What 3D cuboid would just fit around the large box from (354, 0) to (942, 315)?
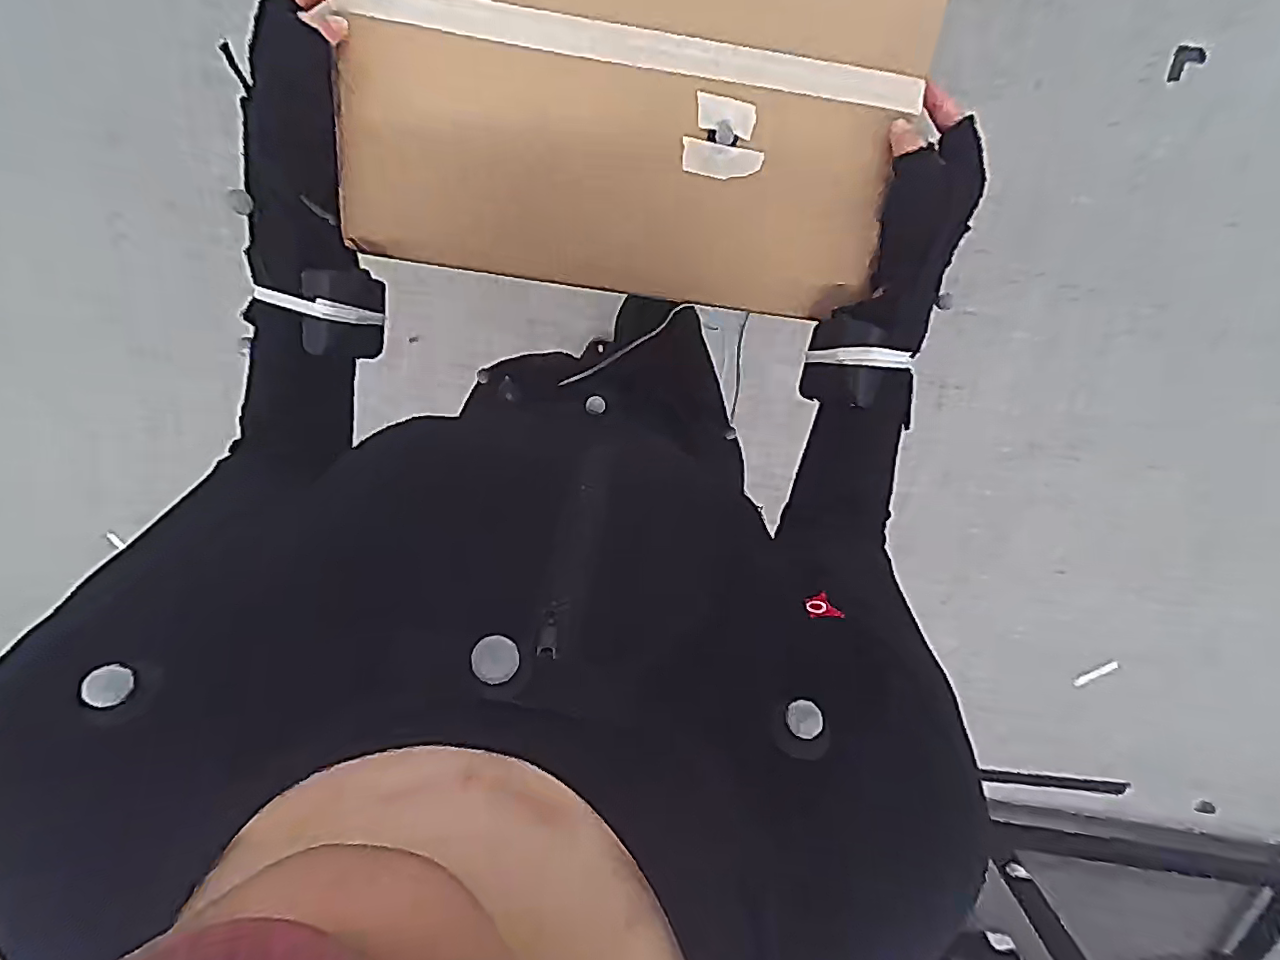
[{"bbox_3d":[-0.004,-0.352,0.517,0.408,0.320,0.320,7,111,-6],"label":"large box"}]
